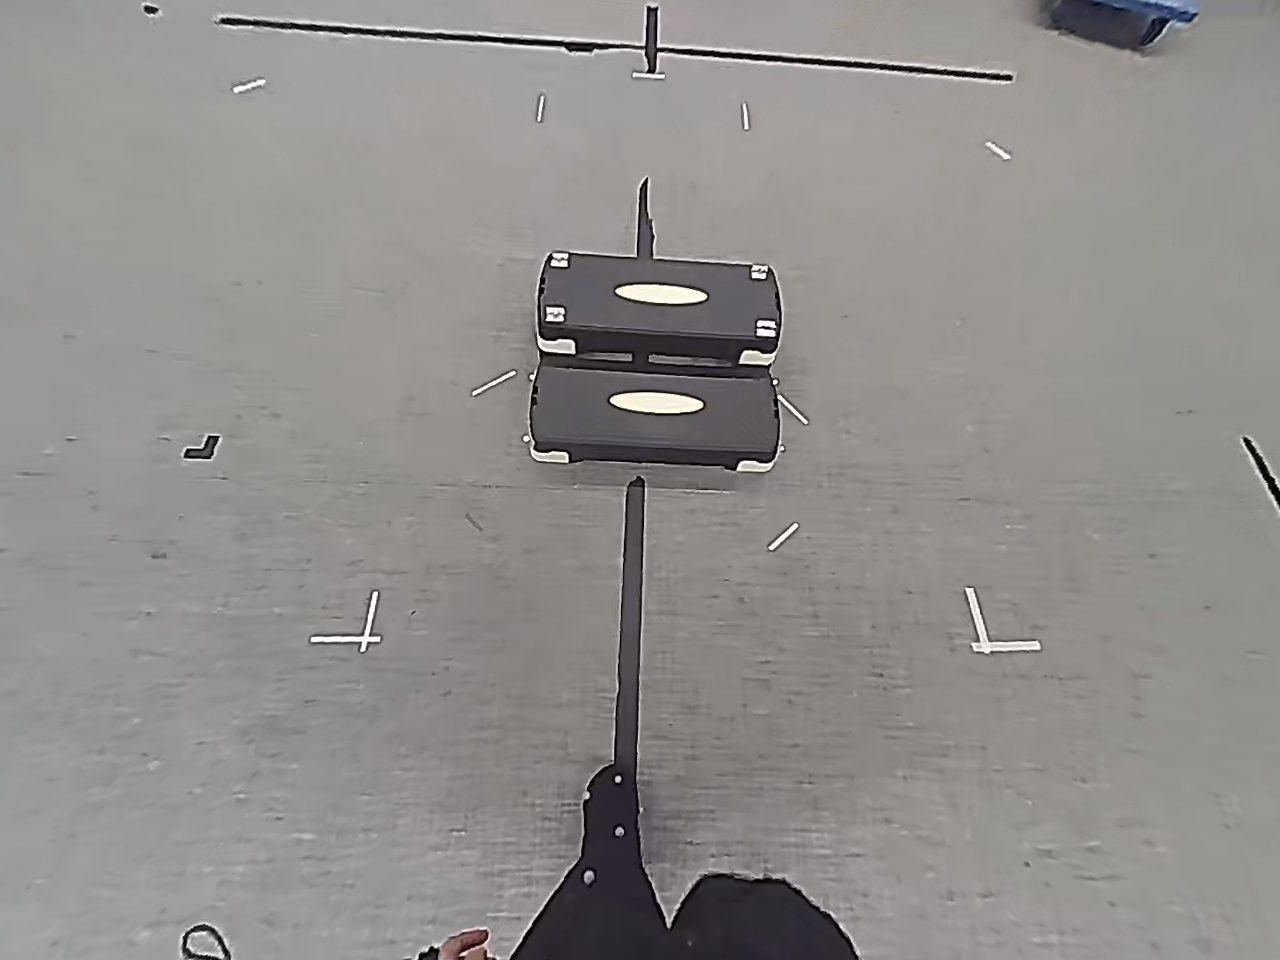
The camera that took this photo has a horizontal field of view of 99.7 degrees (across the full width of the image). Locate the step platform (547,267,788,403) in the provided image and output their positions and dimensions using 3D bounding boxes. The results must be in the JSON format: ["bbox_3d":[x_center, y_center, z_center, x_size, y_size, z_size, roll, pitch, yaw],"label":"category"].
[{"bbox_3d":[0.078,-0.421,1.570,0.684,0.204,0.286,7,63,-1],"label":"step platform"}]
